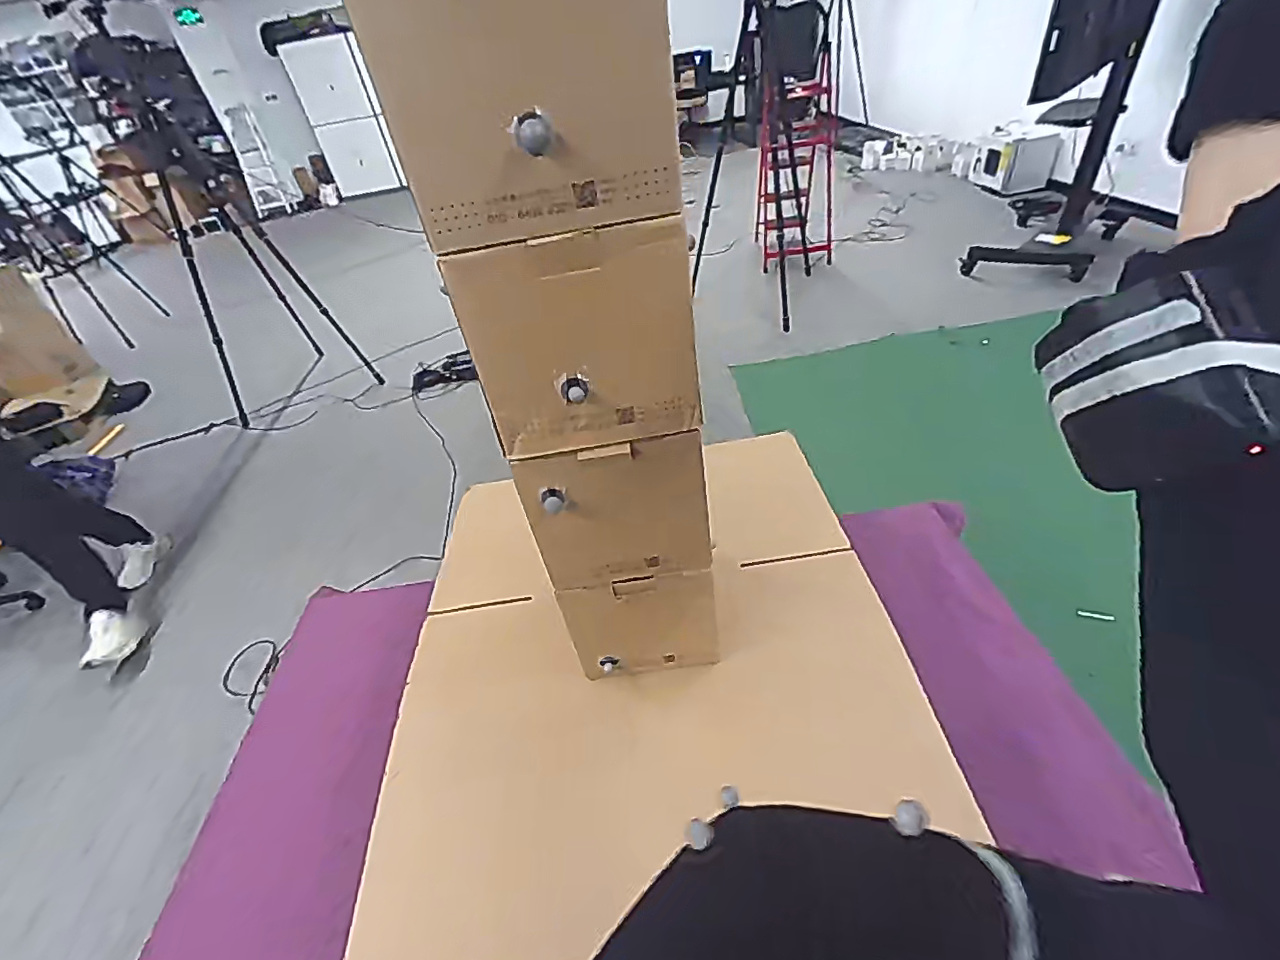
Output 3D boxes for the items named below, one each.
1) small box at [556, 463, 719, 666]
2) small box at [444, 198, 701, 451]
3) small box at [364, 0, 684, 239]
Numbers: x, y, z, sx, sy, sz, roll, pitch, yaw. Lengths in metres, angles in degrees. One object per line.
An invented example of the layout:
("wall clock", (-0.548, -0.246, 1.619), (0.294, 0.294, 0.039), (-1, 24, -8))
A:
("small box", (-0.002, 0.108, 0.662), (0.168, 0.176, 0.179), (-11, 40, 0))
("small box", (-0.045, -0.147, 0.462), (0.168, 0.176, 0.179), (-10, 38, 0))
("small box", (-0.067, -0.276, 0.362), (0.168, 0.176, 0.179), (-10, 39, 0))
